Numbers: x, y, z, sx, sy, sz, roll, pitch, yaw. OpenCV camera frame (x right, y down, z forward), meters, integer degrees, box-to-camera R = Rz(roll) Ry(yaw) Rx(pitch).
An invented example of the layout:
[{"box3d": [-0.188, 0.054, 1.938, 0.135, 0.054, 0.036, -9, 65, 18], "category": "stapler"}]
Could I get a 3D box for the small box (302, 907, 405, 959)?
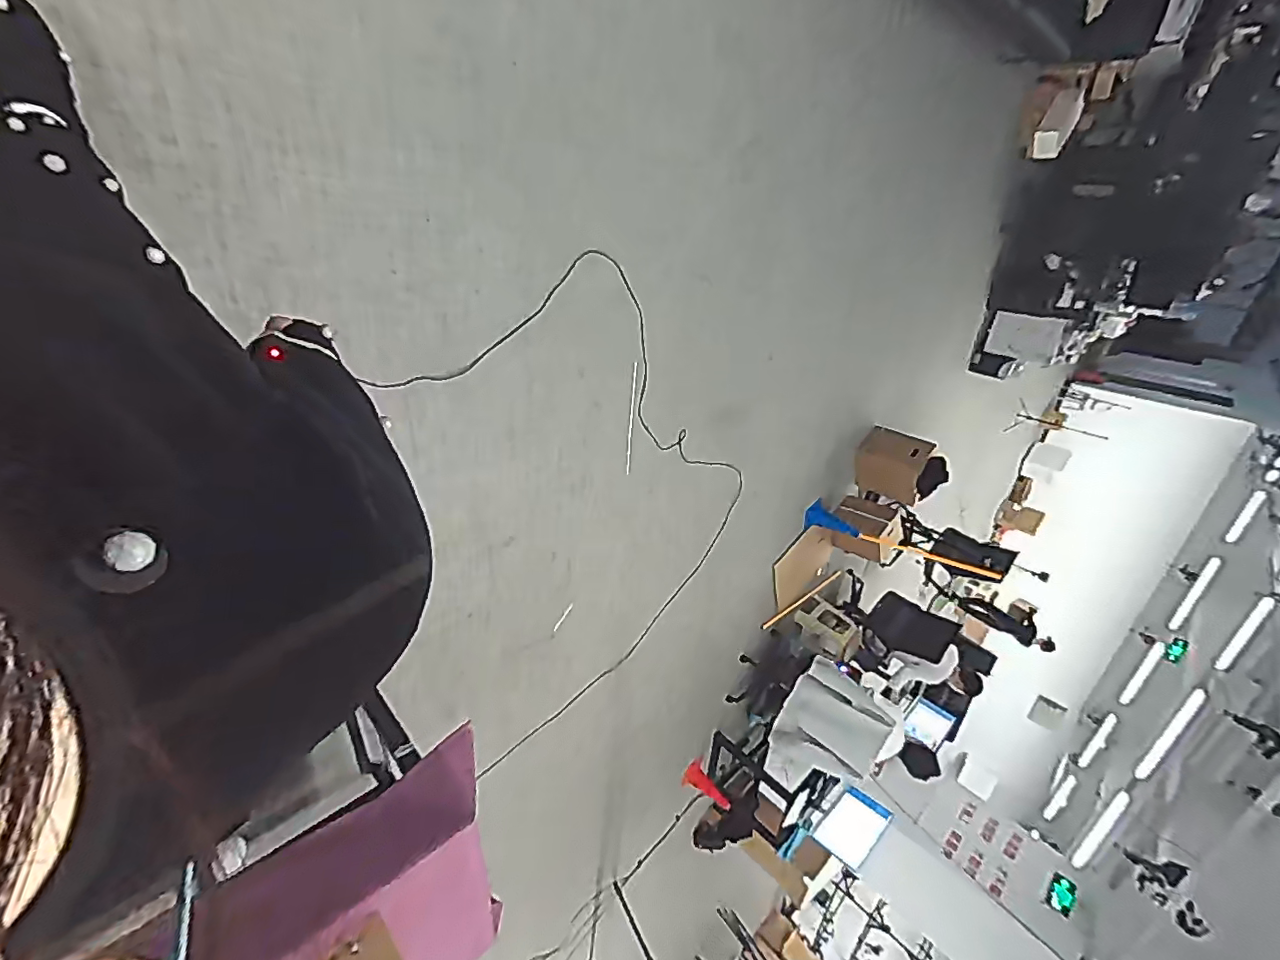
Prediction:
[{"box3d": [-0.576, 1.042, 1.111, 0.168, 0.176, 0.179, -21, 126, -40], "category": "small box"}]
